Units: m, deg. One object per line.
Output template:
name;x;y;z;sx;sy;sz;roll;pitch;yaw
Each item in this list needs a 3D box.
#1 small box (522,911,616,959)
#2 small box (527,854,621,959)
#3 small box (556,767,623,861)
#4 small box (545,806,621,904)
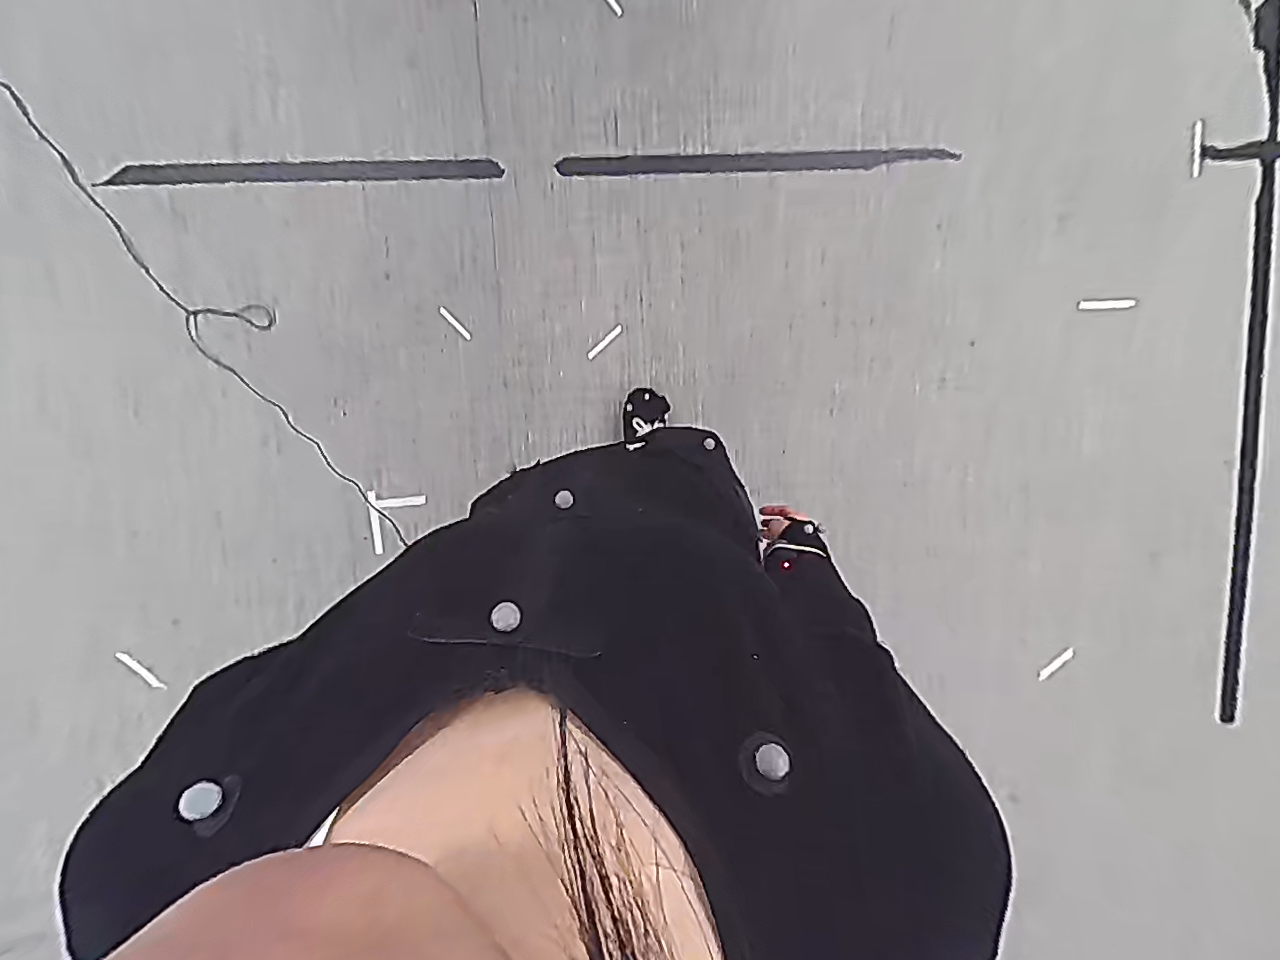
small box;-0.131;0.965;1.014;0.168;0.176;0.179;-6;96;0
small box;-0.137;0.957;1.178;0.179;0.176;0.168;-5;95;0
small box;-0.136;0.922;1.500;0.168;0.176;0.179;-5;96;0
small box;-0.135;0.939;1.339;0.168;0.176;0.179;-5;97;1
